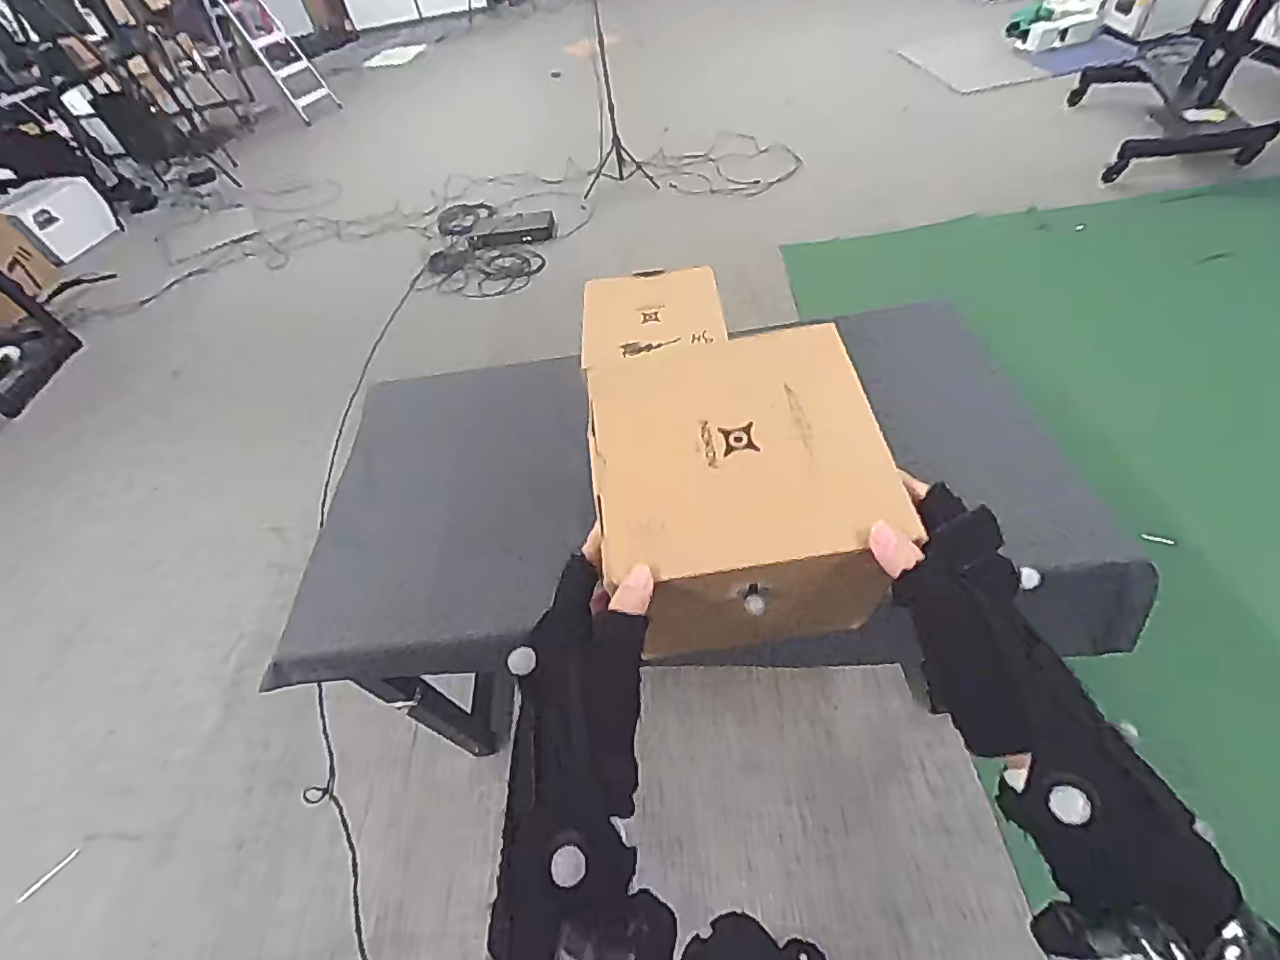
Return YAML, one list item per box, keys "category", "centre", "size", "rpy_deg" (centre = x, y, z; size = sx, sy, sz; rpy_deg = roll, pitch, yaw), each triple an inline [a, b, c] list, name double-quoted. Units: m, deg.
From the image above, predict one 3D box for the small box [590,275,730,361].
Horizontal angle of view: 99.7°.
- category: "small box"
  centre: [0.028, -0.141, 0.713]
  size: [0.168, 0.176, 0.179]
  rpy_deg: [-7, 51, 2]

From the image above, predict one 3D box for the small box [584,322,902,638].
- category: "small box"
  centre: [0.063, 0.011, 0.412]
  size: [0.179, 0.176, 0.168]
  rpy_deg: [-9, 58, 2]
